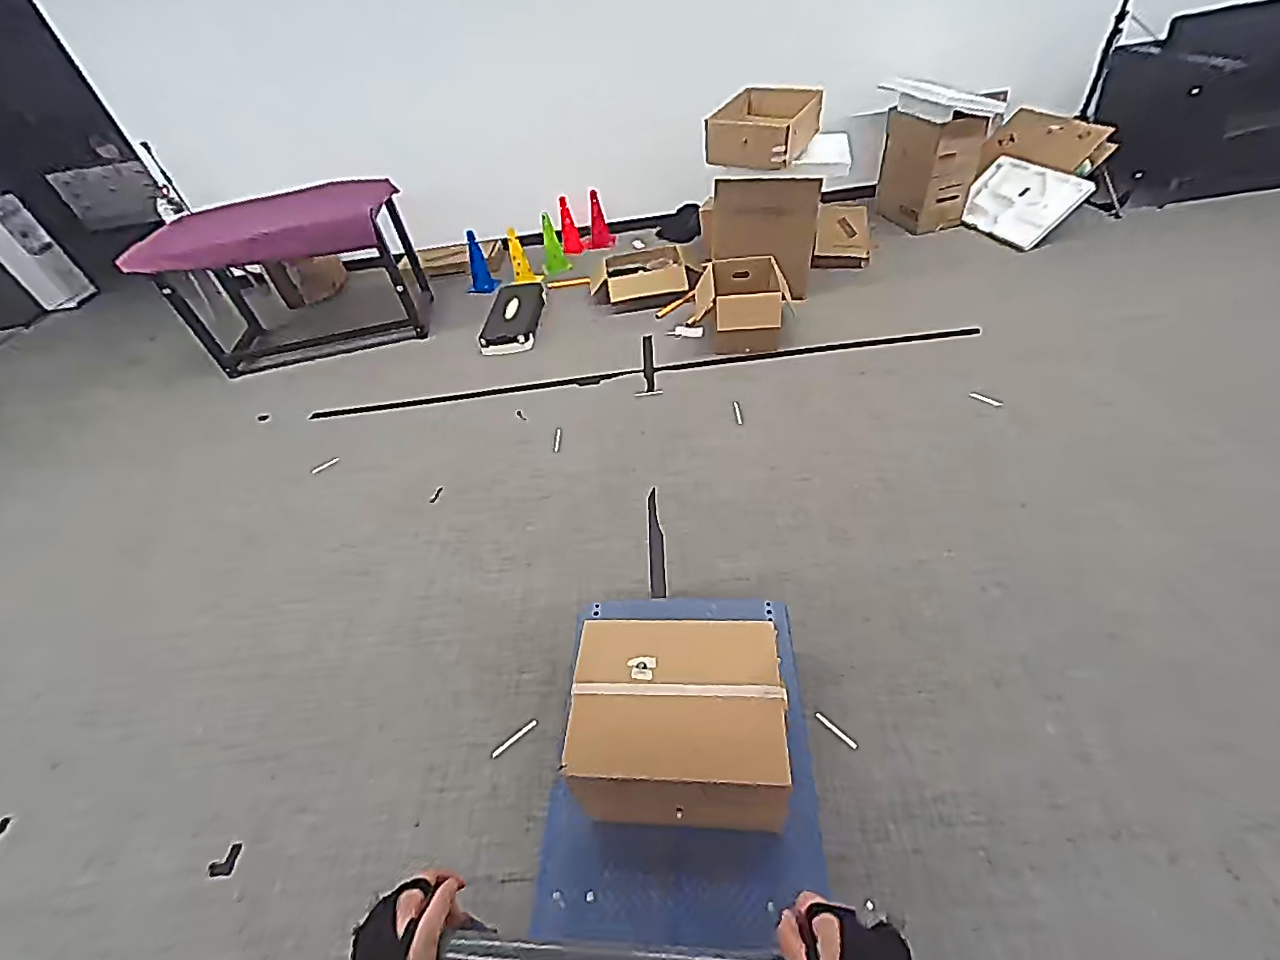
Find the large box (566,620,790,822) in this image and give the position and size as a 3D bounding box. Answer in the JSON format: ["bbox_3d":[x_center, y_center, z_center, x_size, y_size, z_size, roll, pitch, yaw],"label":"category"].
[{"bbox_3d":[0.091,0.519,1.158,0.408,0.320,0.320,-3,44,8],"label":"large box"}]
